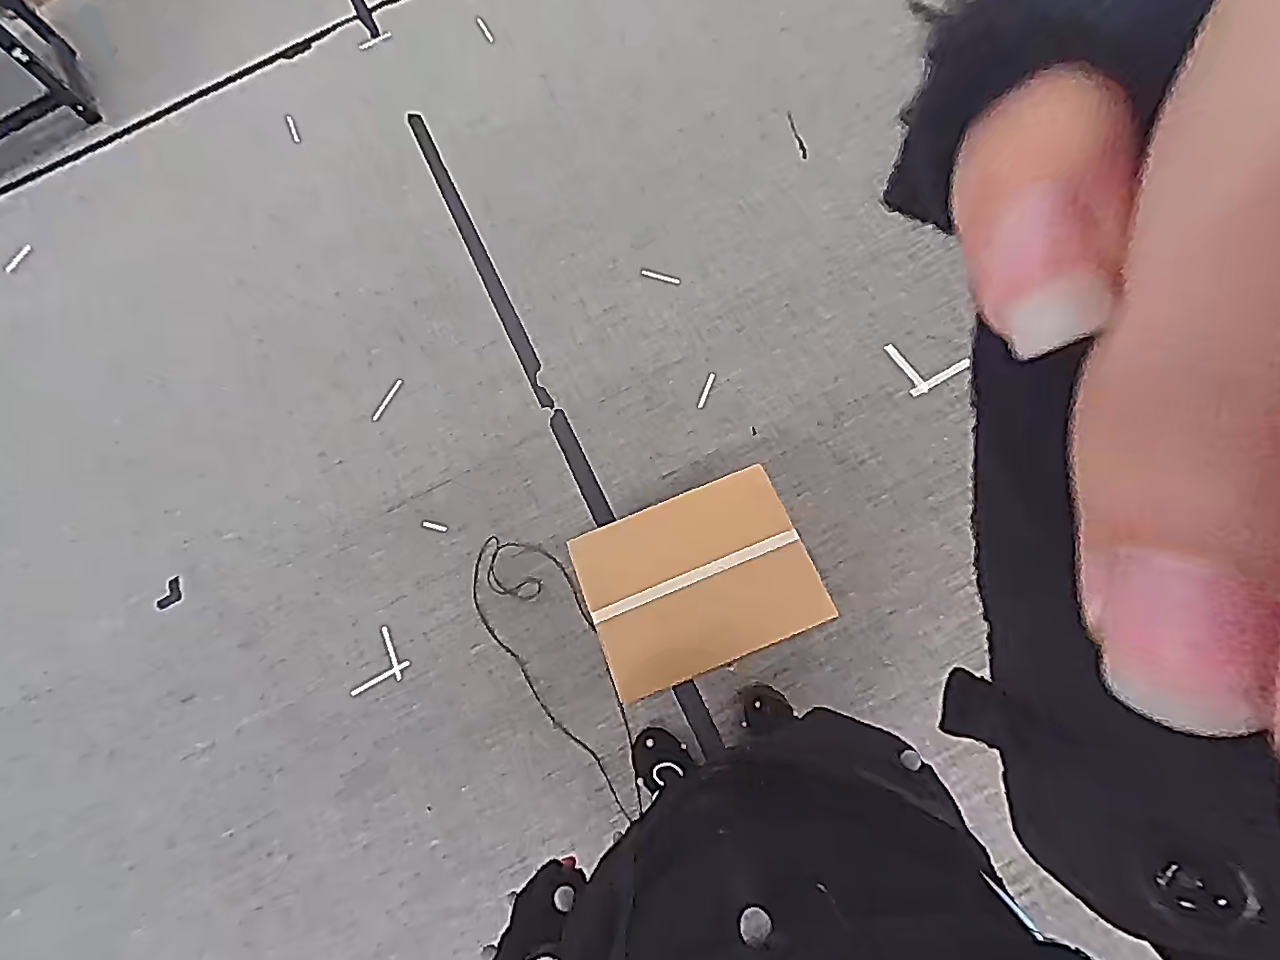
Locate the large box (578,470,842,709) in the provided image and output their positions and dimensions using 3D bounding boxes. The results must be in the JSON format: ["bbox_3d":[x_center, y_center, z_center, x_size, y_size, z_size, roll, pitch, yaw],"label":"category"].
[{"bbox_3d":[0.132,0.239,1.118,0.408,0.320,0.320,-22,69,-1],"label":"large box"}]
